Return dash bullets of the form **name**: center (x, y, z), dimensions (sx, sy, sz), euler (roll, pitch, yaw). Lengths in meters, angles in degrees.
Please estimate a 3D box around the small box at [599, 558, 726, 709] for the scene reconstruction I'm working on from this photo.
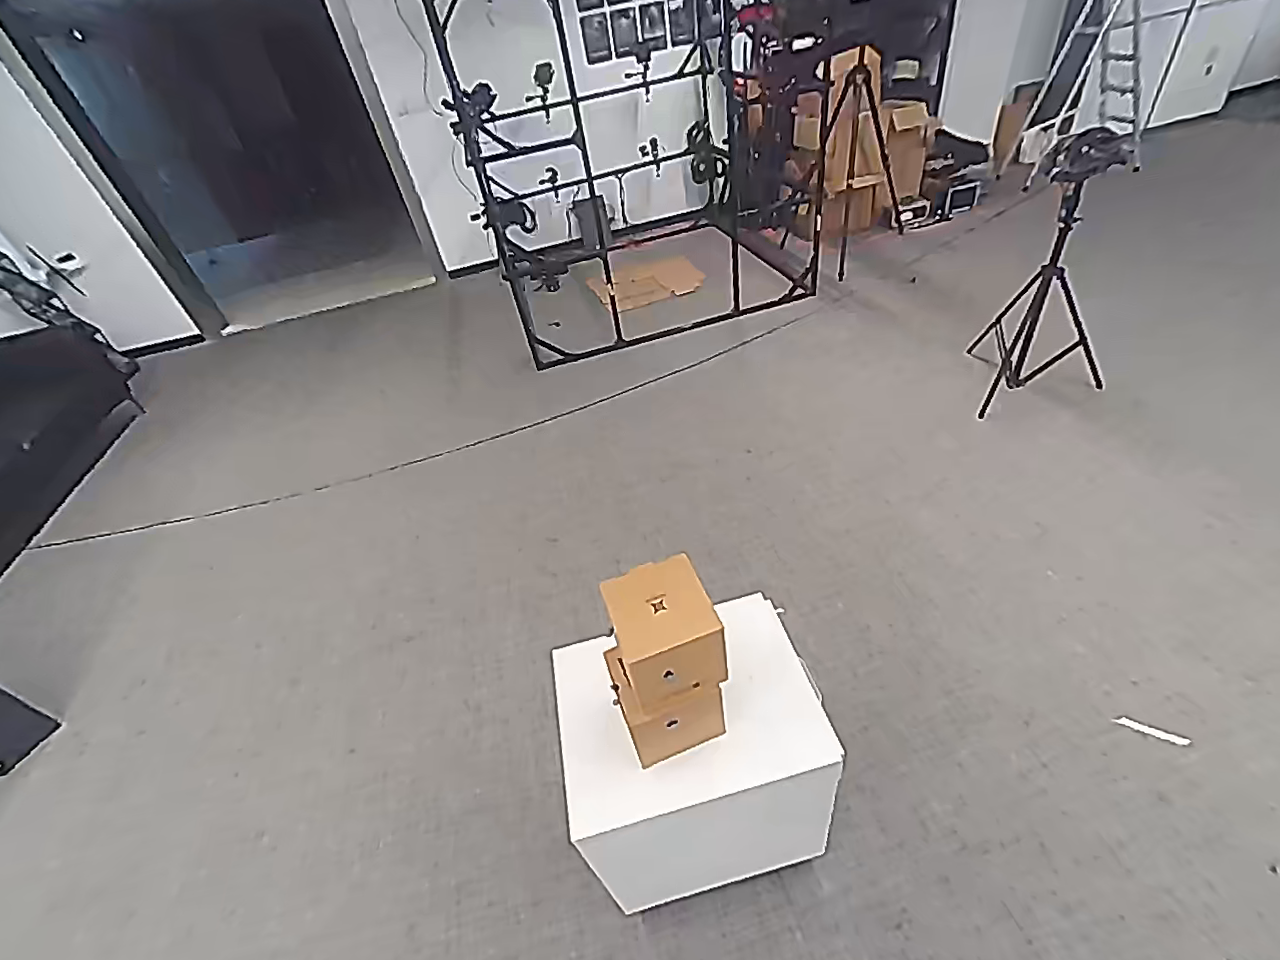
- **small box**: center (0.042, 0.275, 0.951), dimensions (0.168, 0.176, 0.179), euler (-19, 39, -9)

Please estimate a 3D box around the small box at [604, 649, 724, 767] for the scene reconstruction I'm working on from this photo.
- **small box**: center (0.048, 0.415, 1.039), dimensions (0.179, 0.176, 0.168), euler (-19, 40, -10)
